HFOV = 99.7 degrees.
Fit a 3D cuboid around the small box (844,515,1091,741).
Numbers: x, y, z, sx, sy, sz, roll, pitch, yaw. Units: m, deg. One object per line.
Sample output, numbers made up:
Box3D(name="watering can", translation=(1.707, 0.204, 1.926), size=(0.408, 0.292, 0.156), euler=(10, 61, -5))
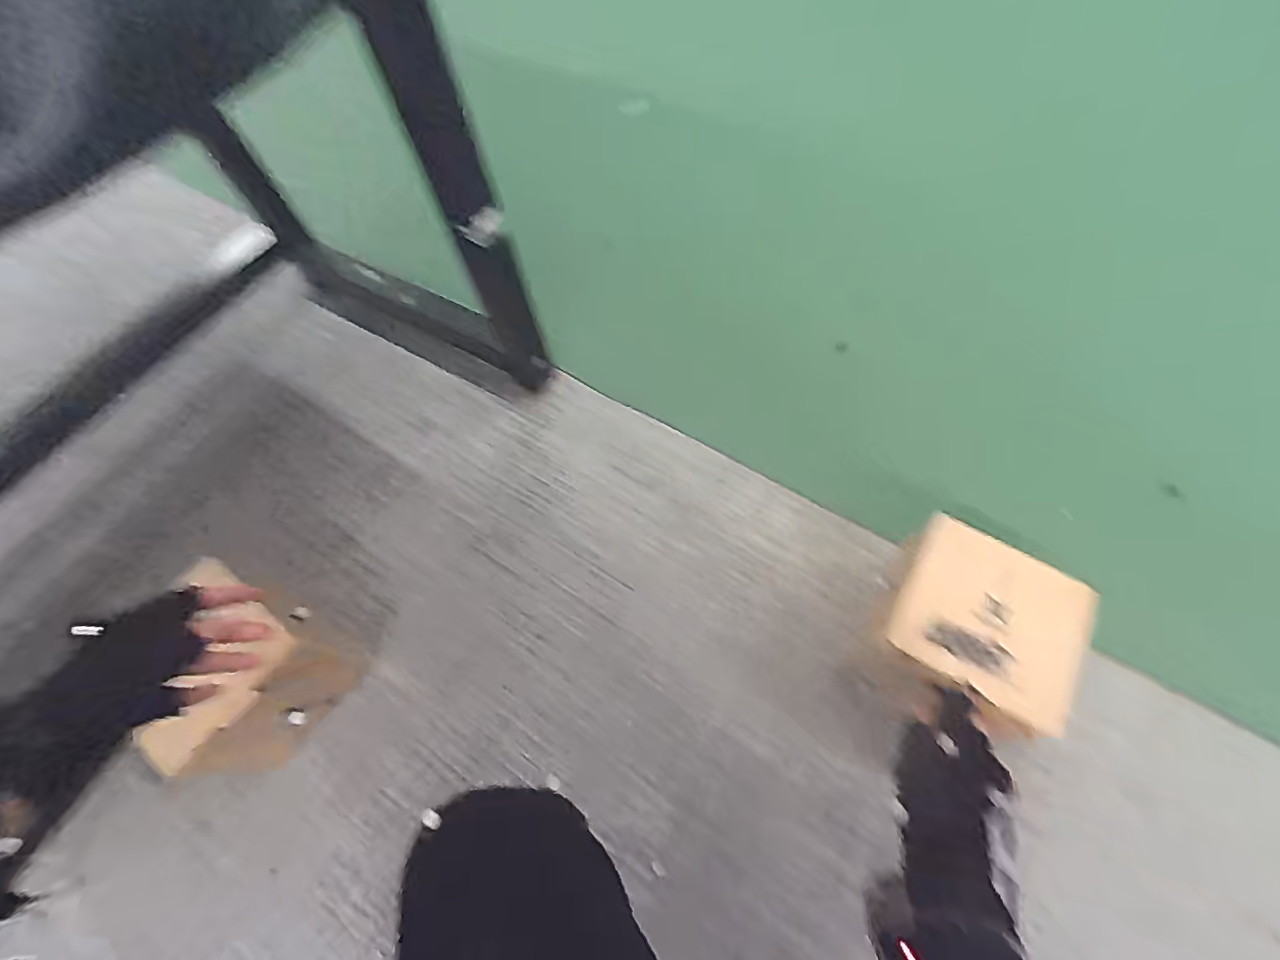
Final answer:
Box3D(name="small box", translation=(0.359, 0.177, 0.628), size=(0.168, 0.176, 0.179), euler=(31, 70, 17))
